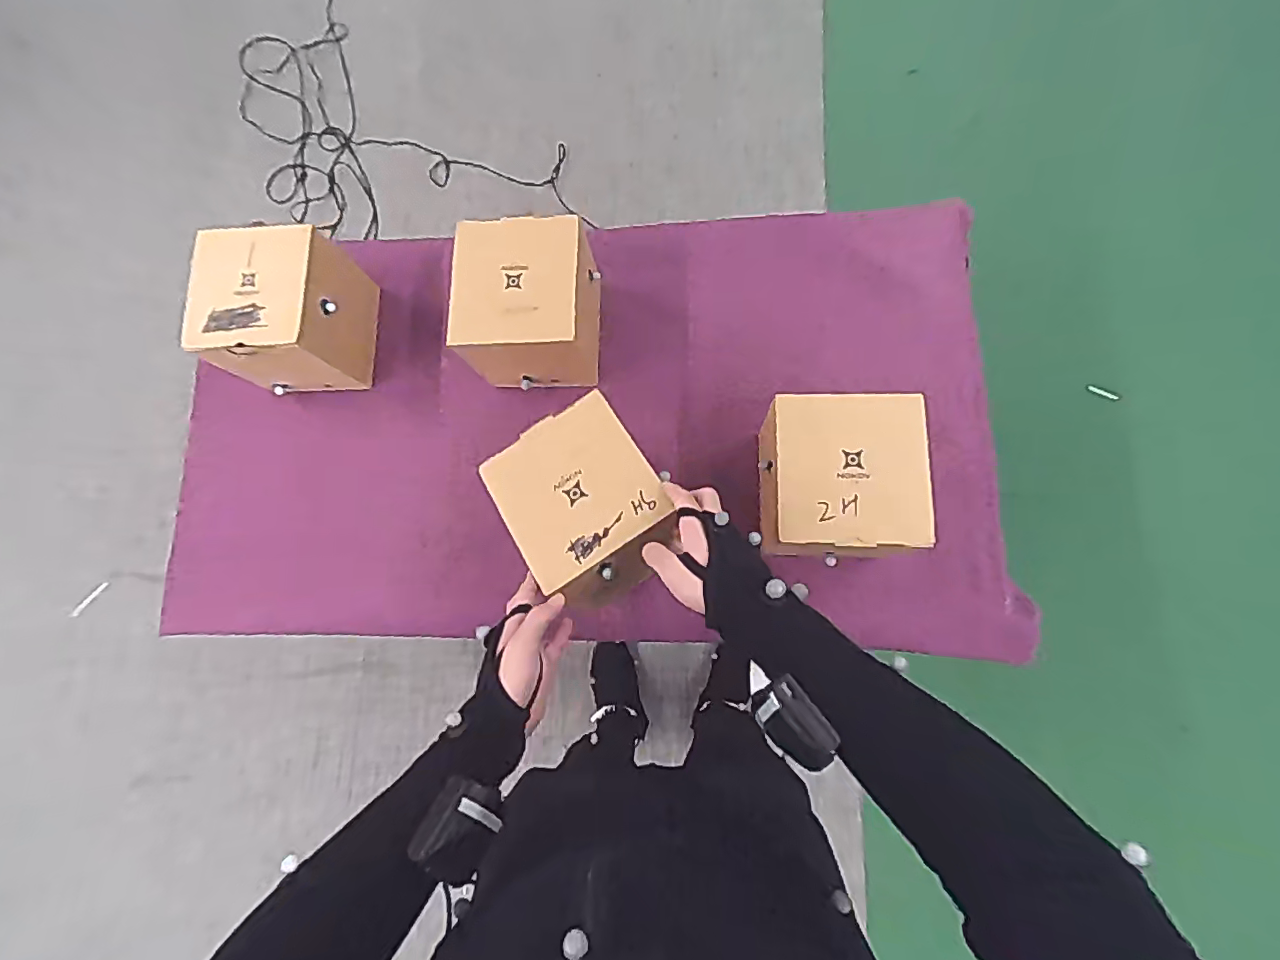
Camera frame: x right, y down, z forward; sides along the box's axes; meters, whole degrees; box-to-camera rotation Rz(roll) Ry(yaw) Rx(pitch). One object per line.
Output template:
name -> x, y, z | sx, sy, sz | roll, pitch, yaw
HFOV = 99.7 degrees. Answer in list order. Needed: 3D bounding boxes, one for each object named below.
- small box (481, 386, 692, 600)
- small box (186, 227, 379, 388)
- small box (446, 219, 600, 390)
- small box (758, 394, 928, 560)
small box -> -0.055, 0.027, 0.651 | 0.168, 0.176, 0.179 | -33, 69, 1
small box -> -0.510, -0.241, 0.798 | 0.168, 0.176, 0.179 | -1, 79, 5
small box -> -0.153, -0.239, 0.767 | 0.168, 0.176, 0.179 | 0, 80, 6
small box -> 0.239, 0.003, 0.680 | 0.168, 0.176, 0.179 | 1, 78, 7
